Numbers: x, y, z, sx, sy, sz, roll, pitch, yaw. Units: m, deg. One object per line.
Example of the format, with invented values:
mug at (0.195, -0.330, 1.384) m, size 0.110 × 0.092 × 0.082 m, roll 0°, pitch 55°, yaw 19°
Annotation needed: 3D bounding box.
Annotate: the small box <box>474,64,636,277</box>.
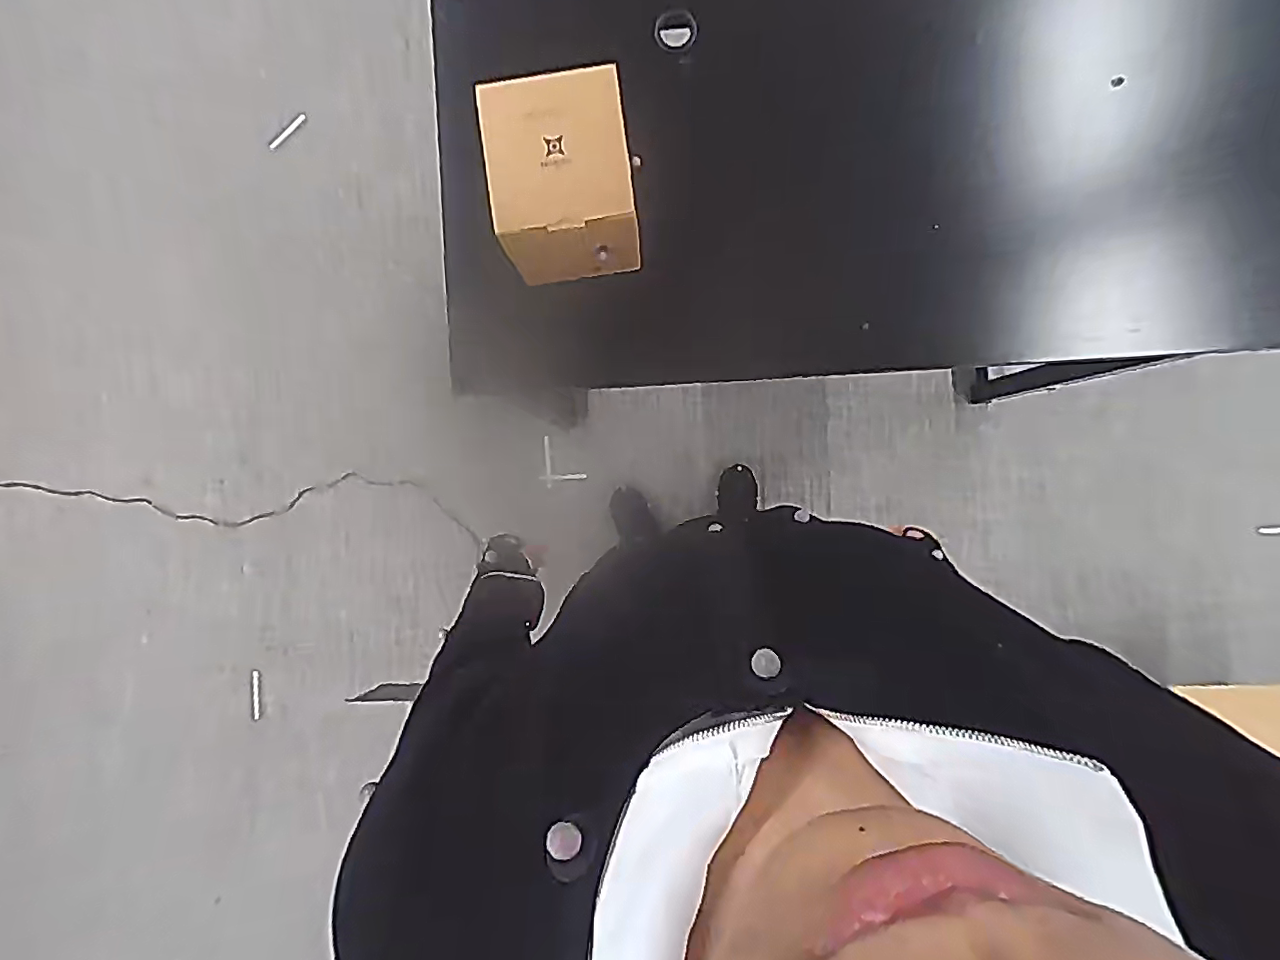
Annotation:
small box at (-0.097, -0.379, 0.698) m, size 0.168 × 0.176 × 0.179 m, roll -8°, pitch 89°, yaw 1°
